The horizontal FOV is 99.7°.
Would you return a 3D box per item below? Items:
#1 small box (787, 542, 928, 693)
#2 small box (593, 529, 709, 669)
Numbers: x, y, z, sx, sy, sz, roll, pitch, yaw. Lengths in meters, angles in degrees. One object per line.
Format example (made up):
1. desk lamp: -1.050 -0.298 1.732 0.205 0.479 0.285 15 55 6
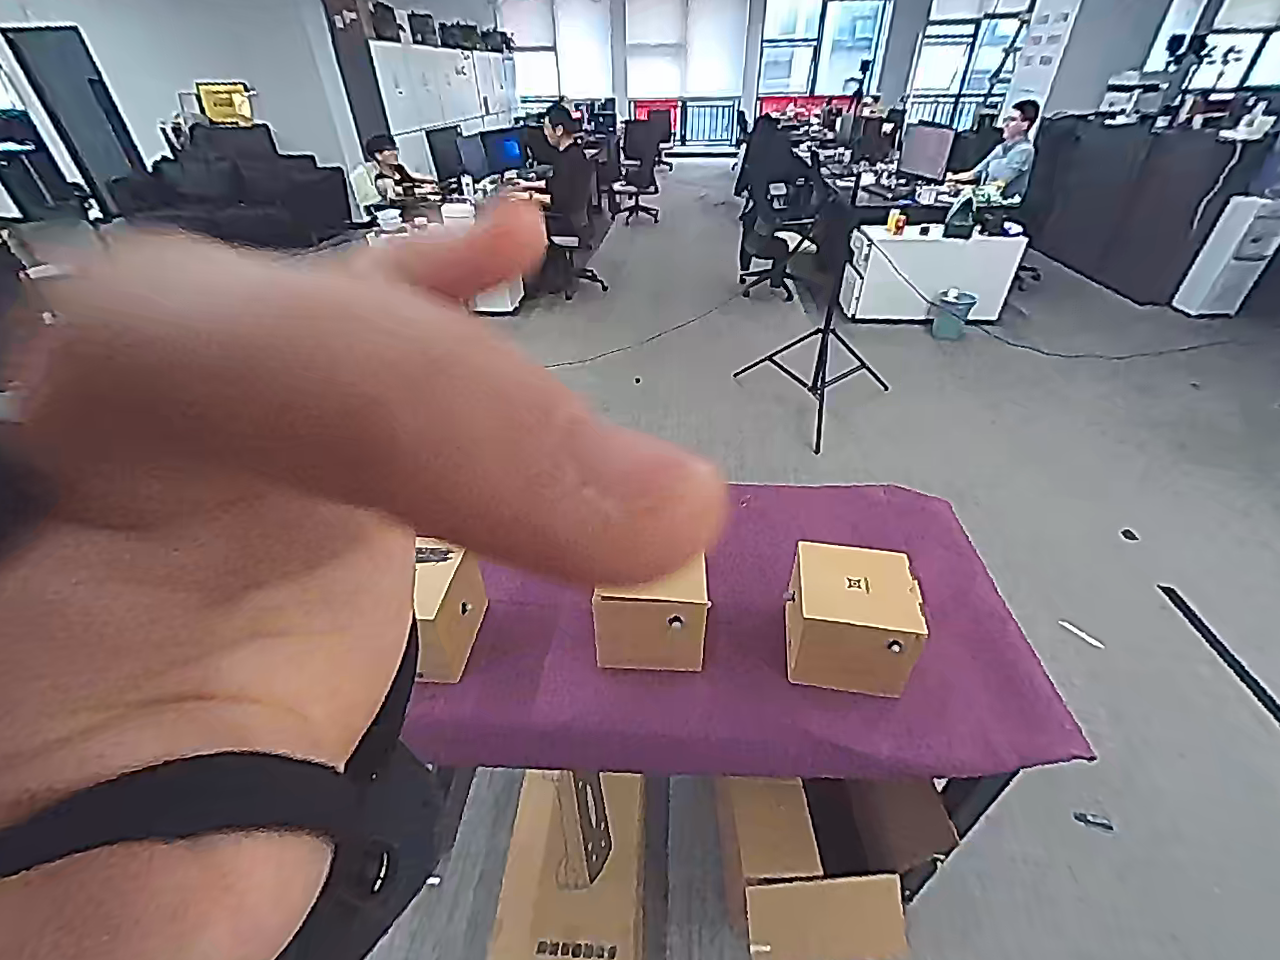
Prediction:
1. small box: 0.336 0.223 0.880 0.179 0.176 0.168 6 37 9
2. small box: 0.020 0.202 0.916 0.179 0.176 0.168 1 34 3
